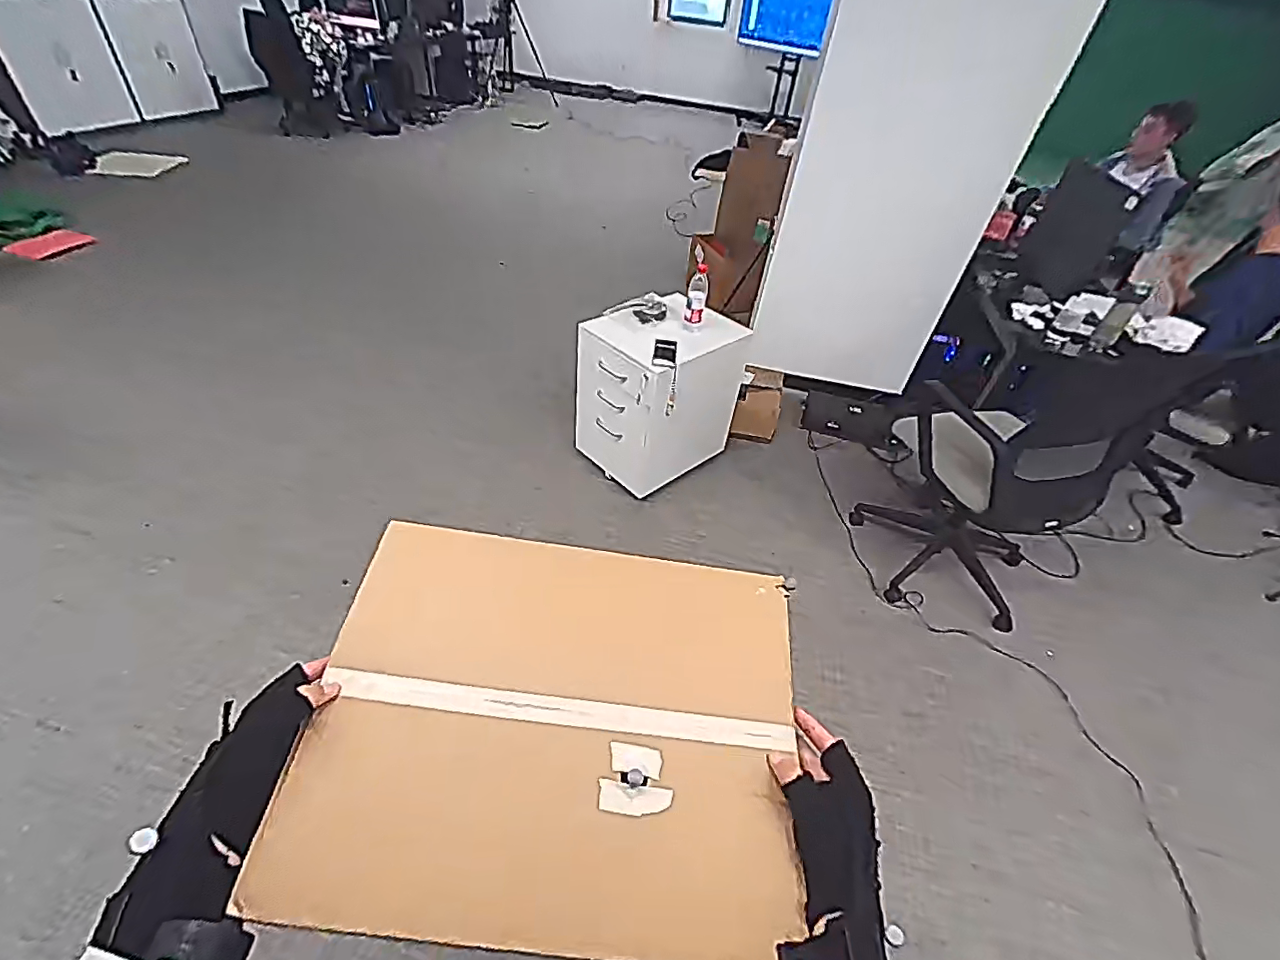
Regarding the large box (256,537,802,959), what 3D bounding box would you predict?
[{"bbox_3d":[-0.083,0.292,0.594,0.408,0.320,0.320,9,55,-3],"label":"large box"}]
